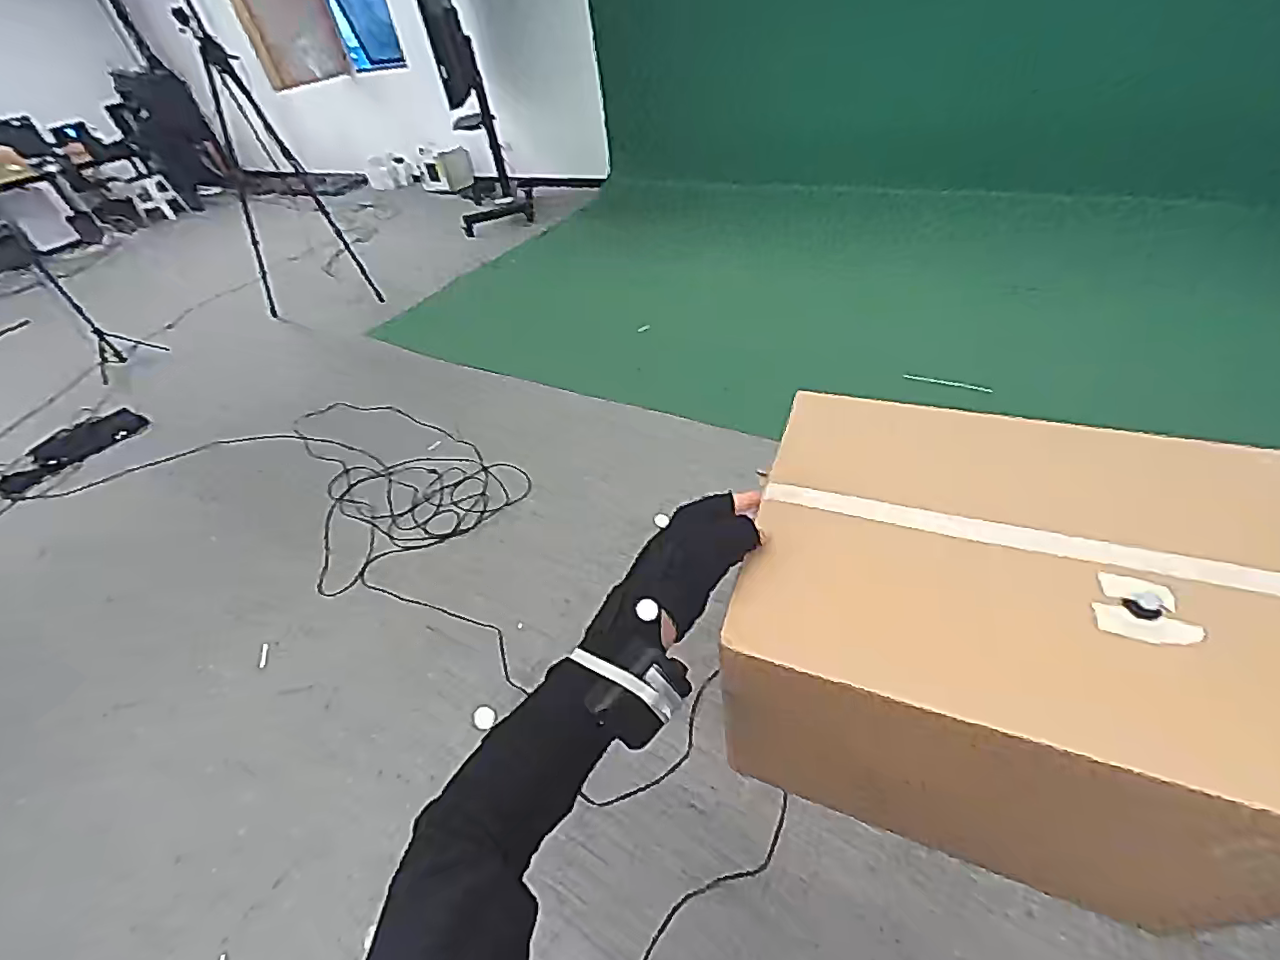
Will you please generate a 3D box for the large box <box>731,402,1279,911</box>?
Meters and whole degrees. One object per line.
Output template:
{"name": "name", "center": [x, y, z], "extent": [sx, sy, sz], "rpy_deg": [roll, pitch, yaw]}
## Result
{"name": "large box", "center": [0.321, 0.155, 0.546], "extent": [0.408, 0.320, 0.320], "rpy_deg": [11, 50, 20]}
